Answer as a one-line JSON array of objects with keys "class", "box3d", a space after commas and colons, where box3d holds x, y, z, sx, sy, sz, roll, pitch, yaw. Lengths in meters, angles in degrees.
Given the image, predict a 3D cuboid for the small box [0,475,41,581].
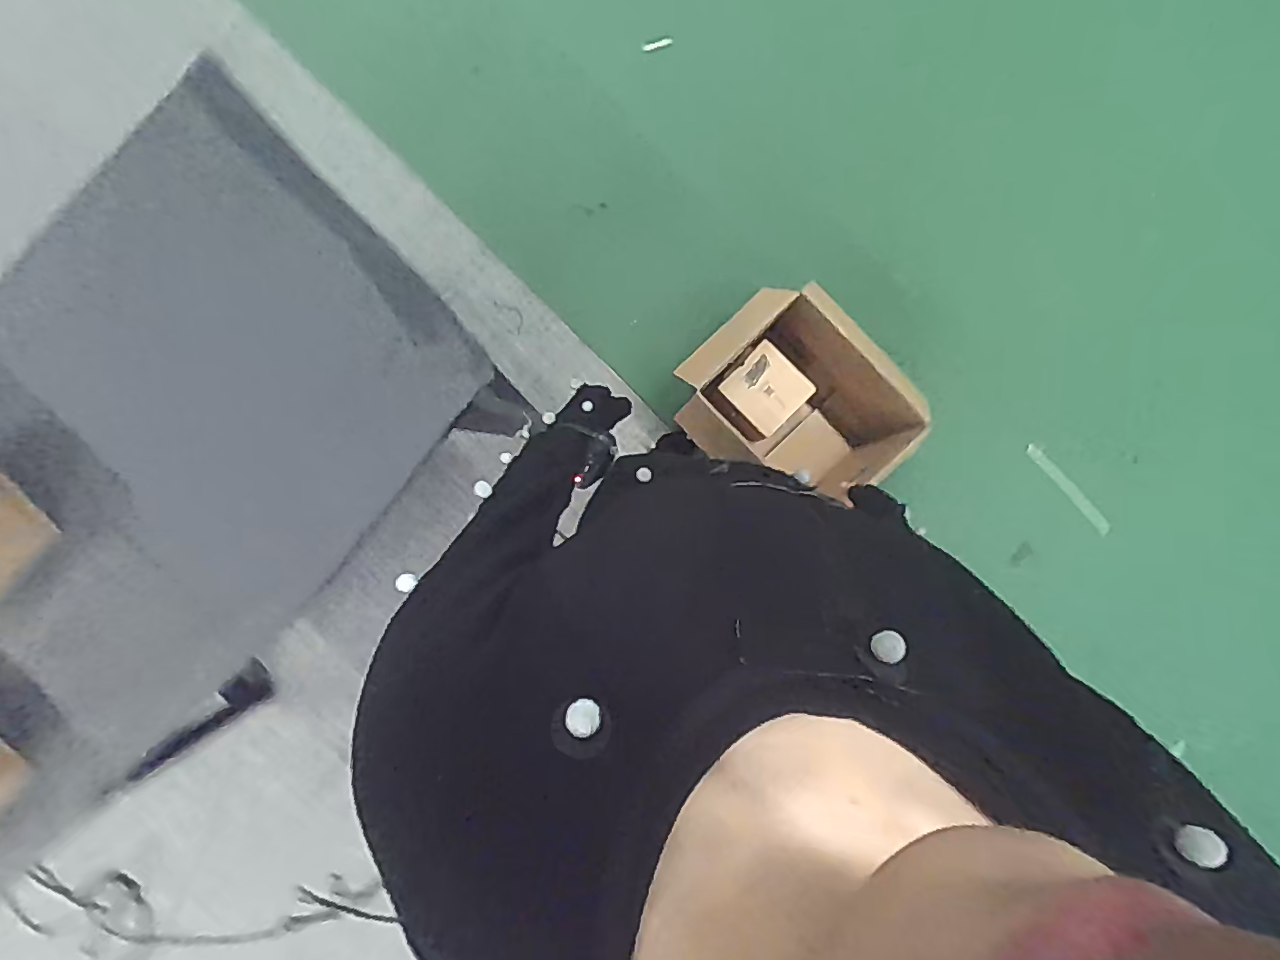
[{"class": "small box", "box3d": [-0.960, 0.070, 0.701, 0.179, 0.176, 0.168, -44, 91, 3]}]
